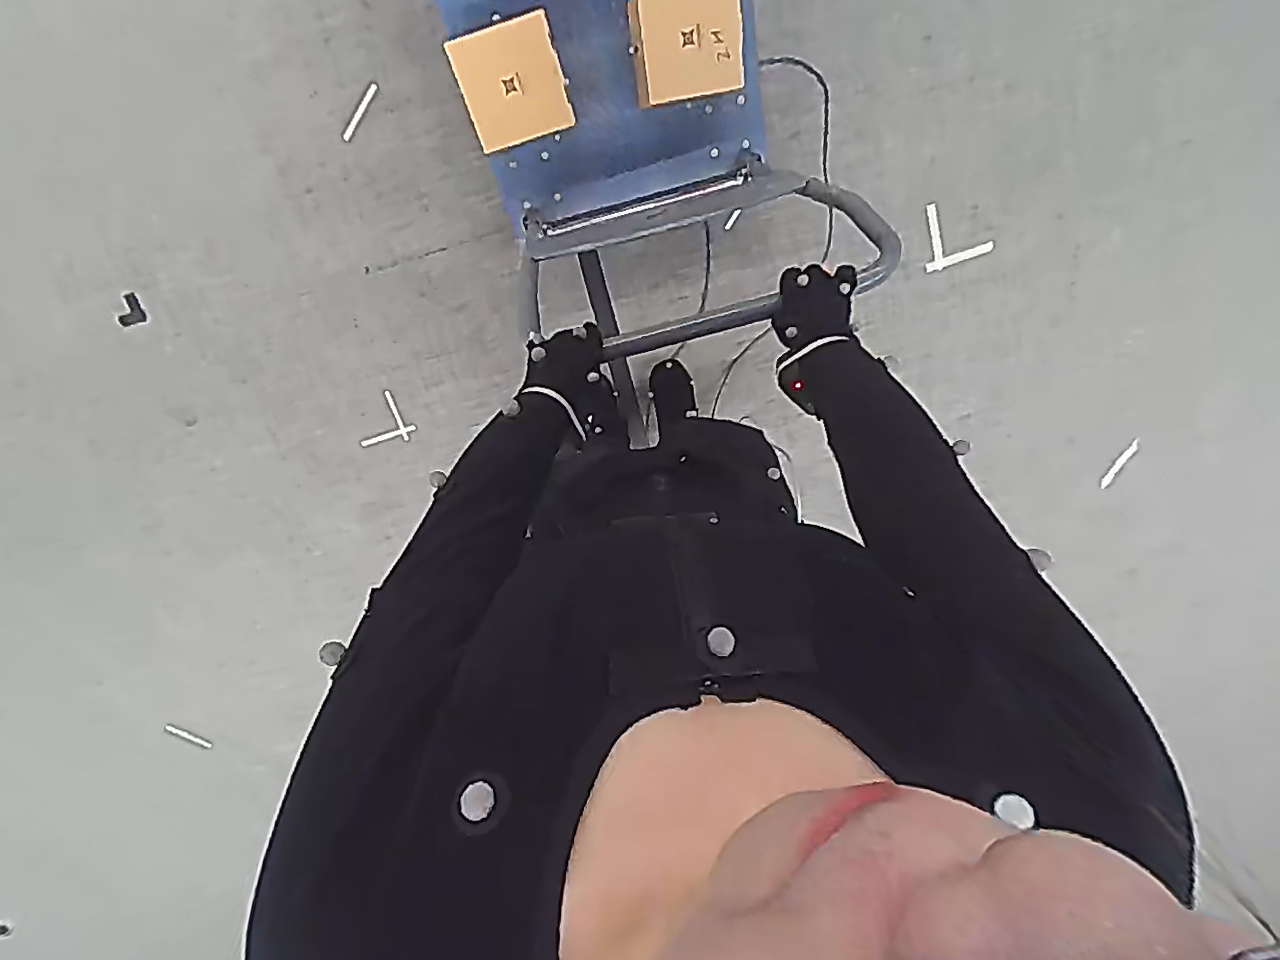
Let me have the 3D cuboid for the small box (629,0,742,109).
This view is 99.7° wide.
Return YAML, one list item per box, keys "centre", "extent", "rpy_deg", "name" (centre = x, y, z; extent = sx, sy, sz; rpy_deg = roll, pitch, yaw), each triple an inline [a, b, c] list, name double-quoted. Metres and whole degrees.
- centre: [0.077, -0.791, 0.986]
  extent: [0.179, 0.176, 0.168]
  rpy_deg: [-11, 123, -1]
  name: "small box"

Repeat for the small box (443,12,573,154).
- centre: [-0.231, -0.714, 0.992]
  extent: [0.179, 0.176, 0.168]
  rpy_deg: [-18, 123, 2]
  name: "small box"
